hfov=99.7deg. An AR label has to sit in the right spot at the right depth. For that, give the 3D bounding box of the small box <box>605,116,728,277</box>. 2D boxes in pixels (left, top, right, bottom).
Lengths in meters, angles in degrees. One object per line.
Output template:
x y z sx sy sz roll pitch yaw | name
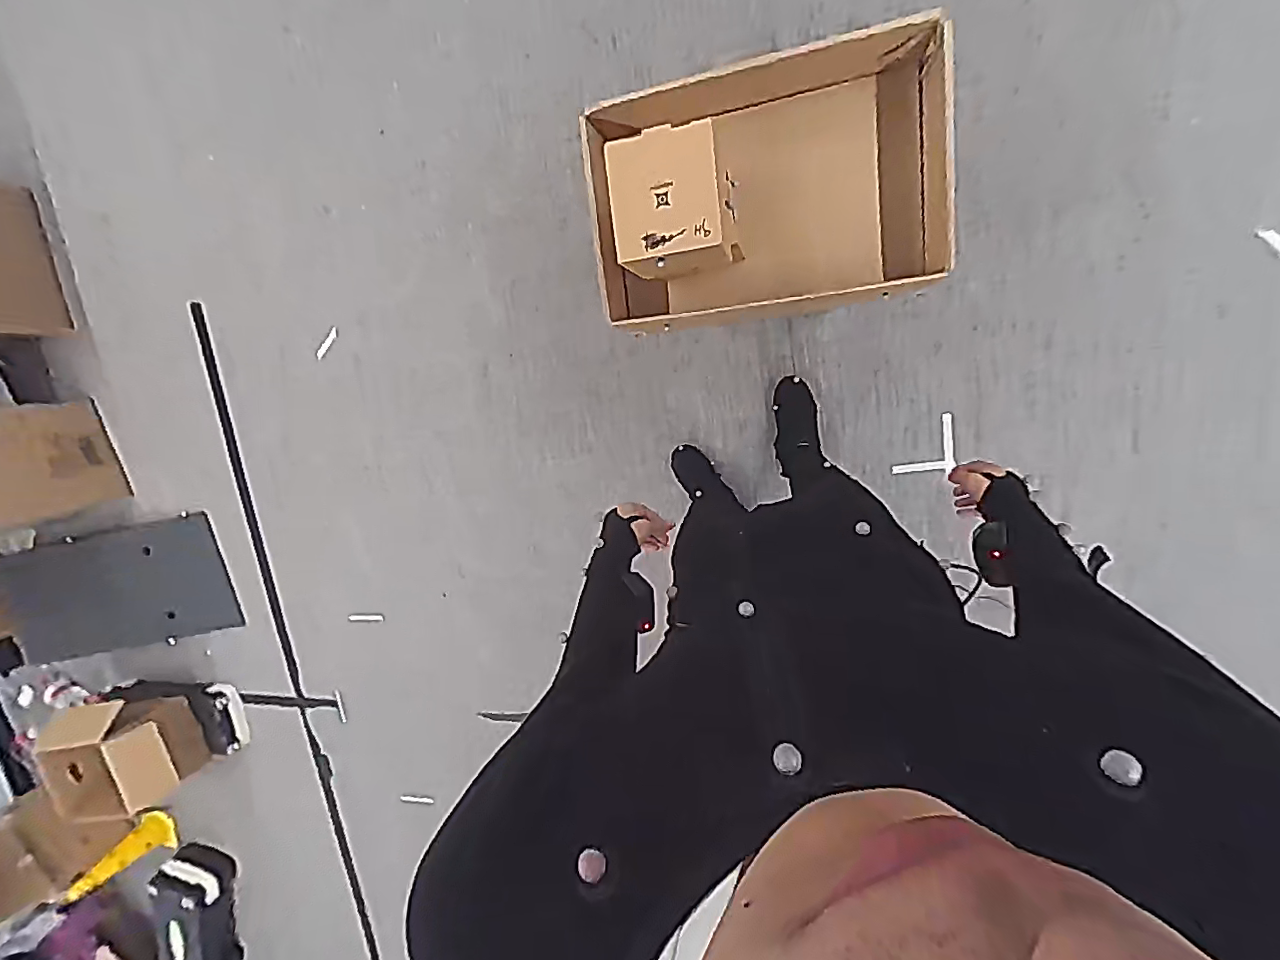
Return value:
0.051 -0.445 0.879 0.168 0.176 0.179 -3 100 15 | small box

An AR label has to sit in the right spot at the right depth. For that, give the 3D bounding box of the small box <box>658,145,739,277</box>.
0.090 -0.498 1.029 0.179 0.176 0.168 -9 99 17 | small box
